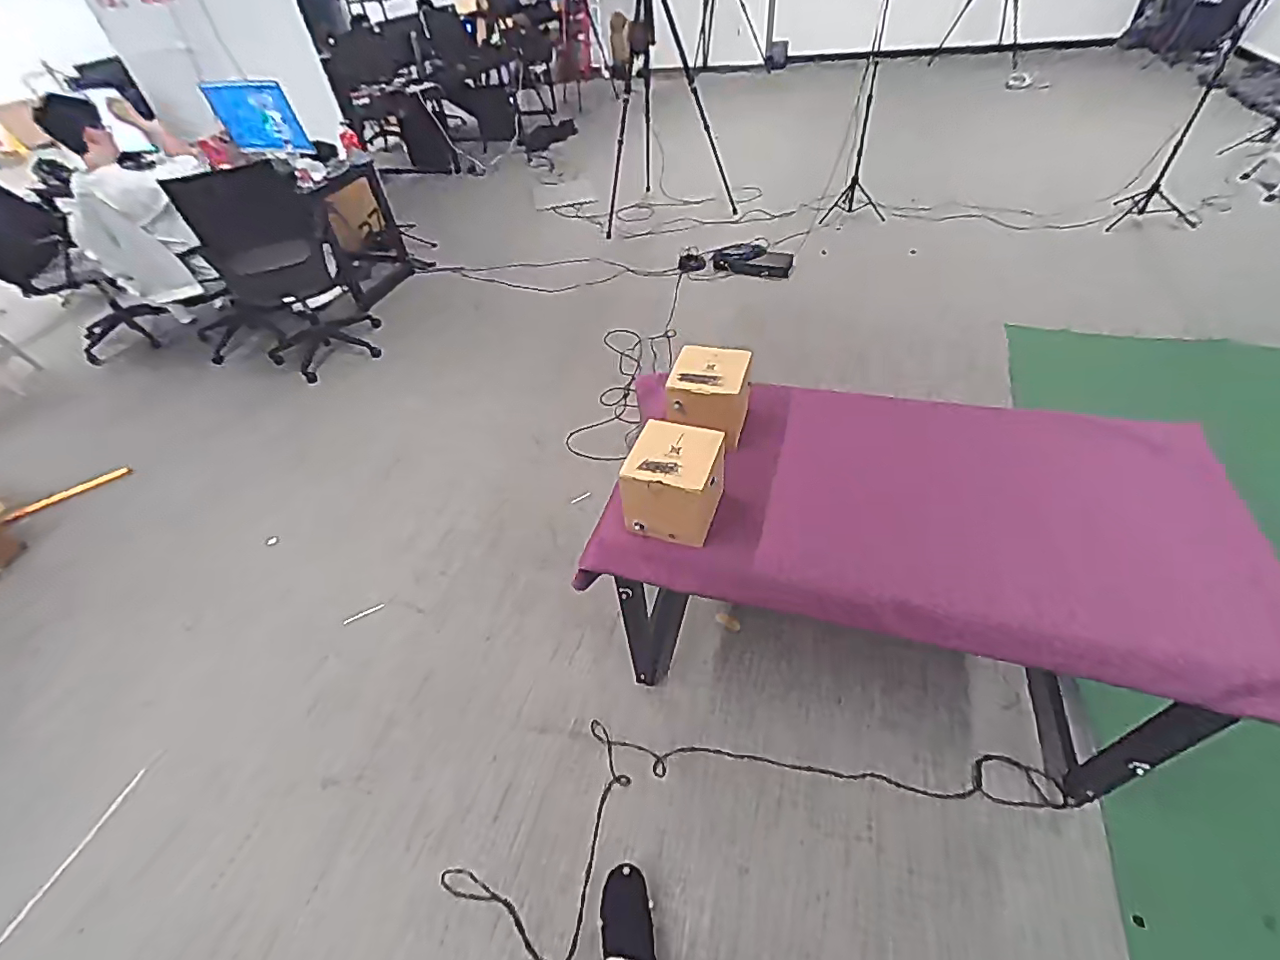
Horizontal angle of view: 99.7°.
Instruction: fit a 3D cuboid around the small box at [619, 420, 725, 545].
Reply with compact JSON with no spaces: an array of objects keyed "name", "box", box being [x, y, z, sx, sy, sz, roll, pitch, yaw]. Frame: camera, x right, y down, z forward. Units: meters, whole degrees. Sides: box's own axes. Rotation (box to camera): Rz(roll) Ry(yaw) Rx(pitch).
[{"name":"small box","box":[0.072,0.005,1.099,0.168,0.176,0.179,12,47,17]}]
